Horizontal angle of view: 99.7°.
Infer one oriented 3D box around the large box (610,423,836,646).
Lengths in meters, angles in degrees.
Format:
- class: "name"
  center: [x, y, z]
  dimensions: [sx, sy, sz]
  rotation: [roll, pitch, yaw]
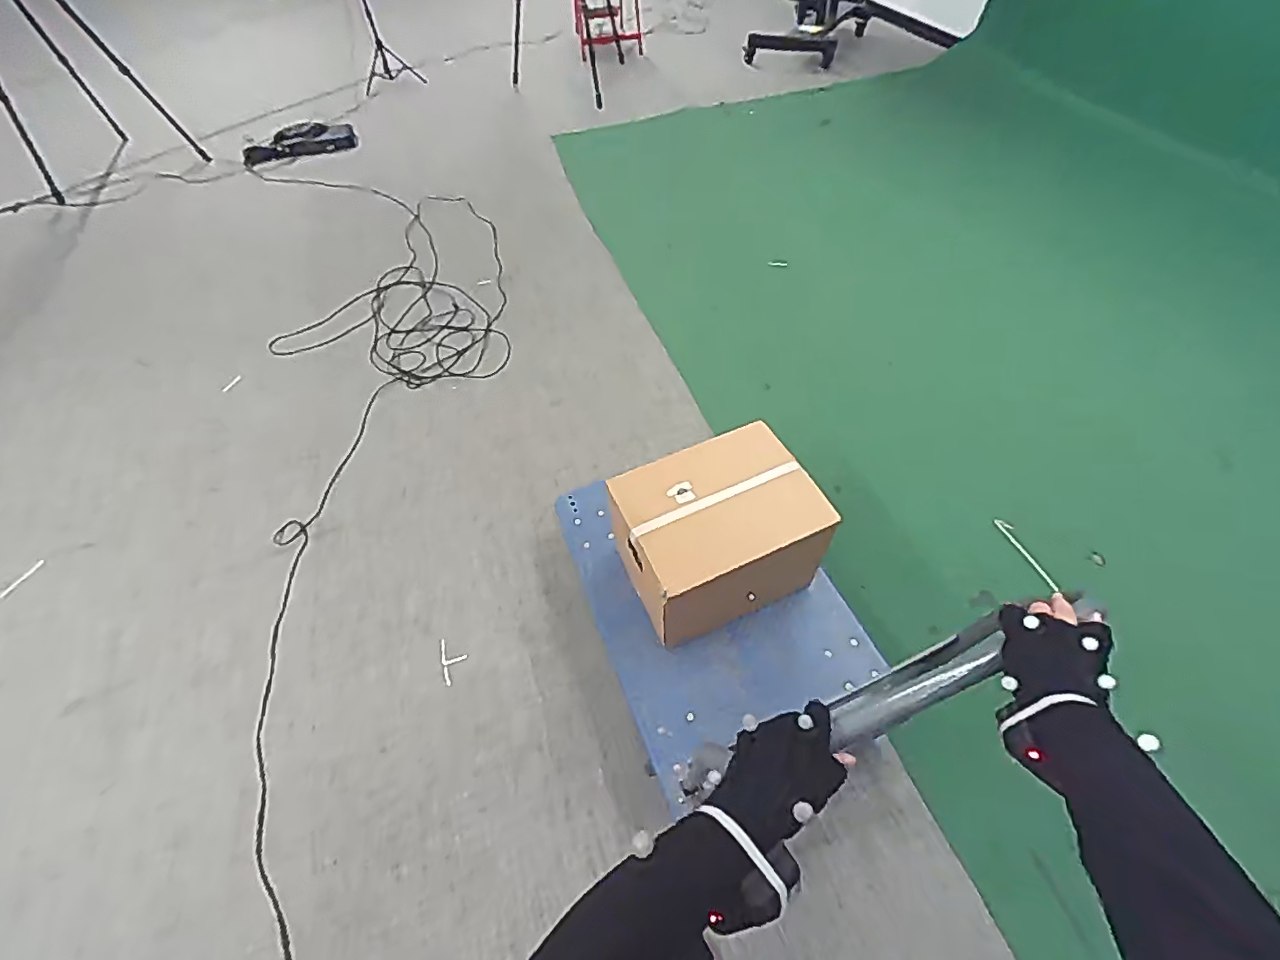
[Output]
- class: "large box"
  center: [0.181, 0.132, 1.288]
  dimensions: [0.408, 0.320, 0.320]
  rotation: [-23, 56, -12]
